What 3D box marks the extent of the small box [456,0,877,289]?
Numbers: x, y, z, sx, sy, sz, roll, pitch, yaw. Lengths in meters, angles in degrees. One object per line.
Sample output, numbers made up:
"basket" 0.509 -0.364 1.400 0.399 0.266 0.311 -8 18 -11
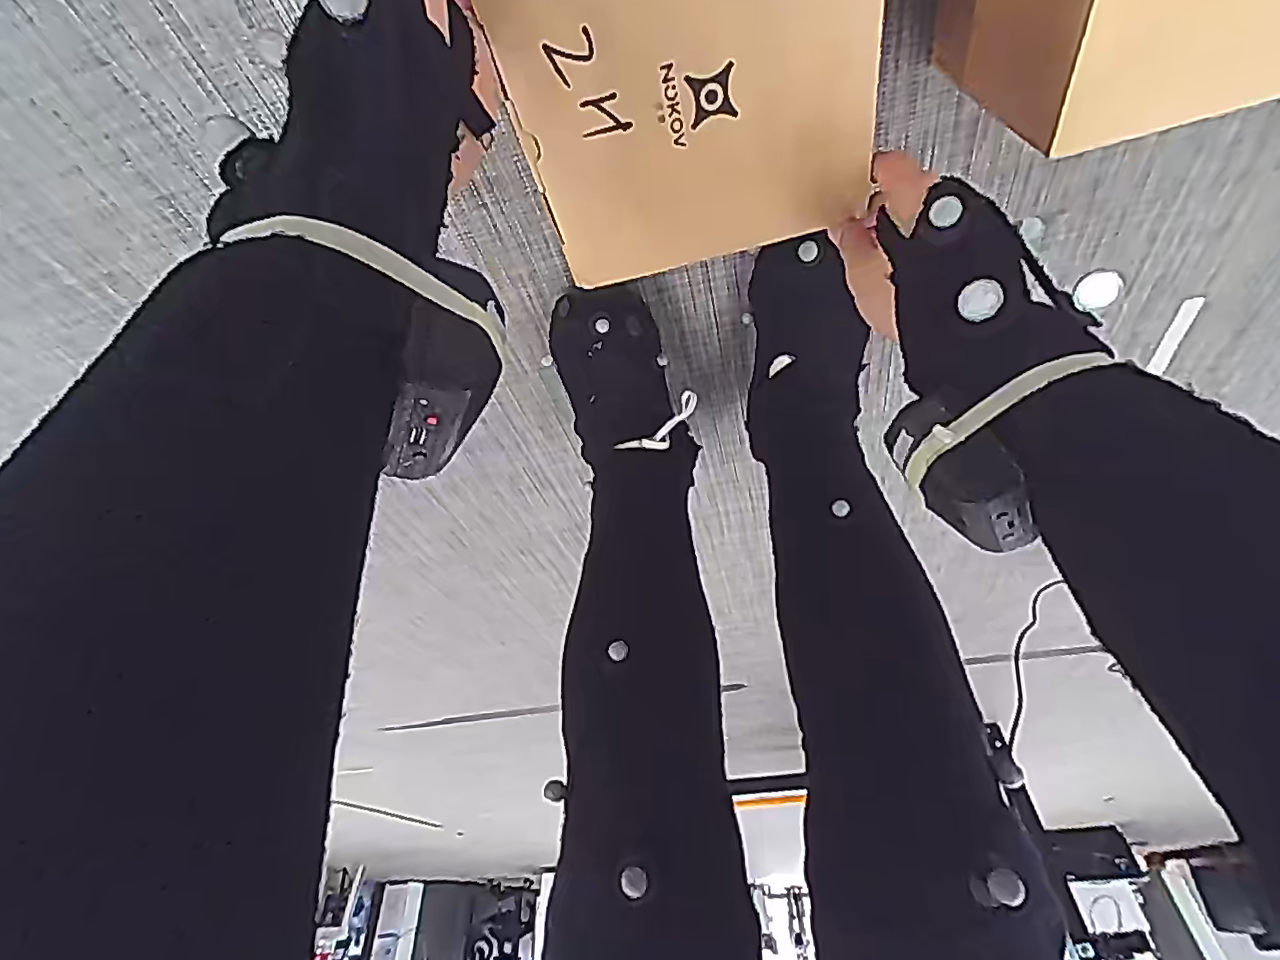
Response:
"small box" 0.016 -0.243 0.304 0.179 0.176 0.168 -11 140 9
